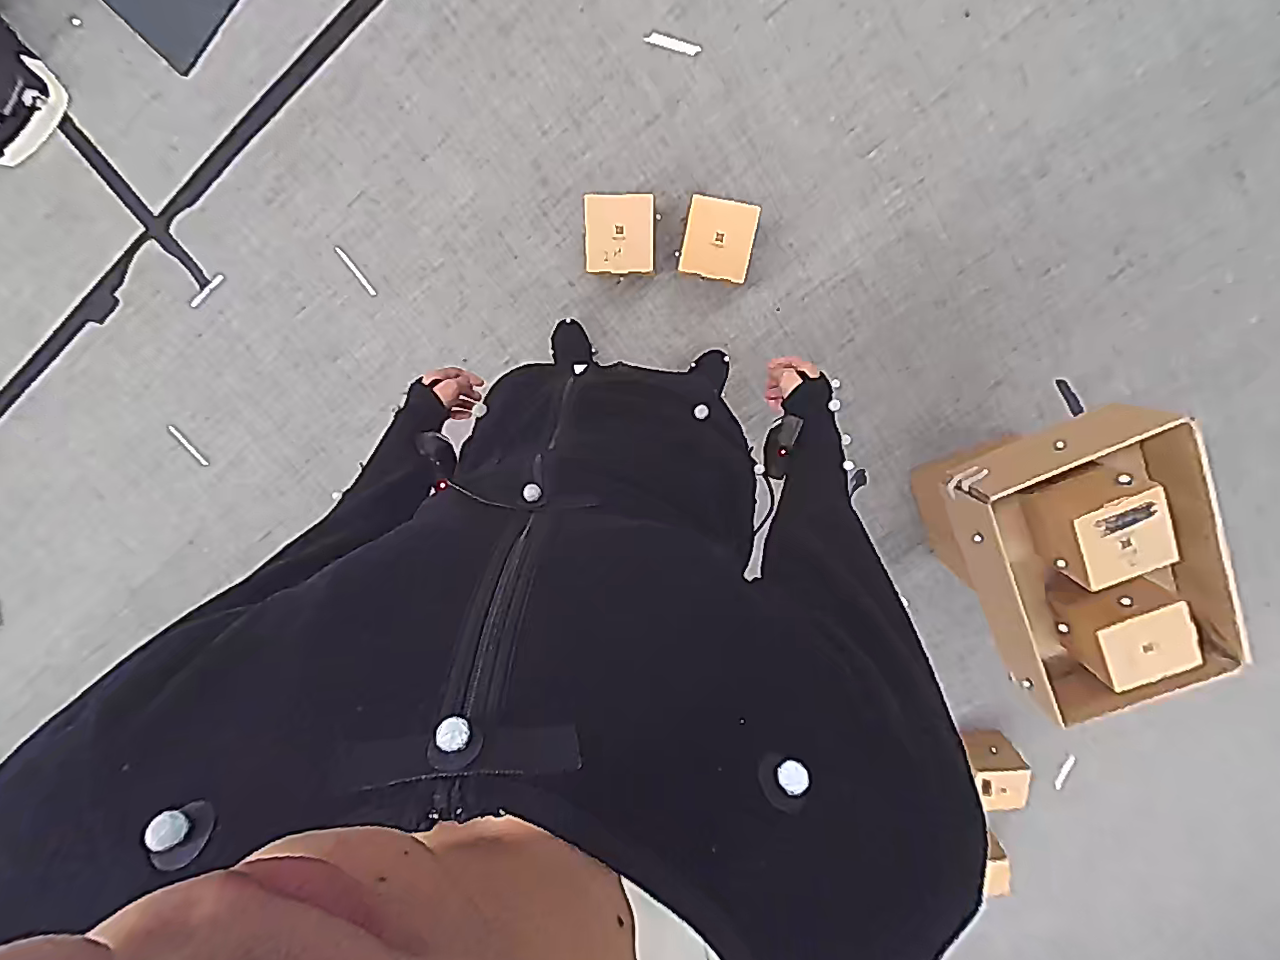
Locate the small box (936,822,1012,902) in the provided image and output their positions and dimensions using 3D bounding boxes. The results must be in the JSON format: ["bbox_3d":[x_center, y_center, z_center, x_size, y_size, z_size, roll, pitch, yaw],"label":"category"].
[{"bbox_3d":[1.188,1.359,1.932,0.179,0.176,0.168,-10,106,5],"label":"small box"}]

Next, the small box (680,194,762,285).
[{"bbox_3d":[0.196,-0.599,1.366,0.168,0.176,0.179,10,109,-1],"label":"small box"}]

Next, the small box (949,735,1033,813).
[{"bbox_3d":[1.169,0.982,1.814,0.179,0.176,0.168,-4,107,4],"label":"small box"}]

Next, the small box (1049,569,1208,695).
[{"bbox_3d":[1.045,0.320,1.169,0.179,0.176,0.168,-26,103,7],"label":"small box"}]

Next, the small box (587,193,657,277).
[{"bbox_3d":[-0.042,-0.615,1.370,0.168,0.176,0.179,1,108,3],"label":"small box"}]
